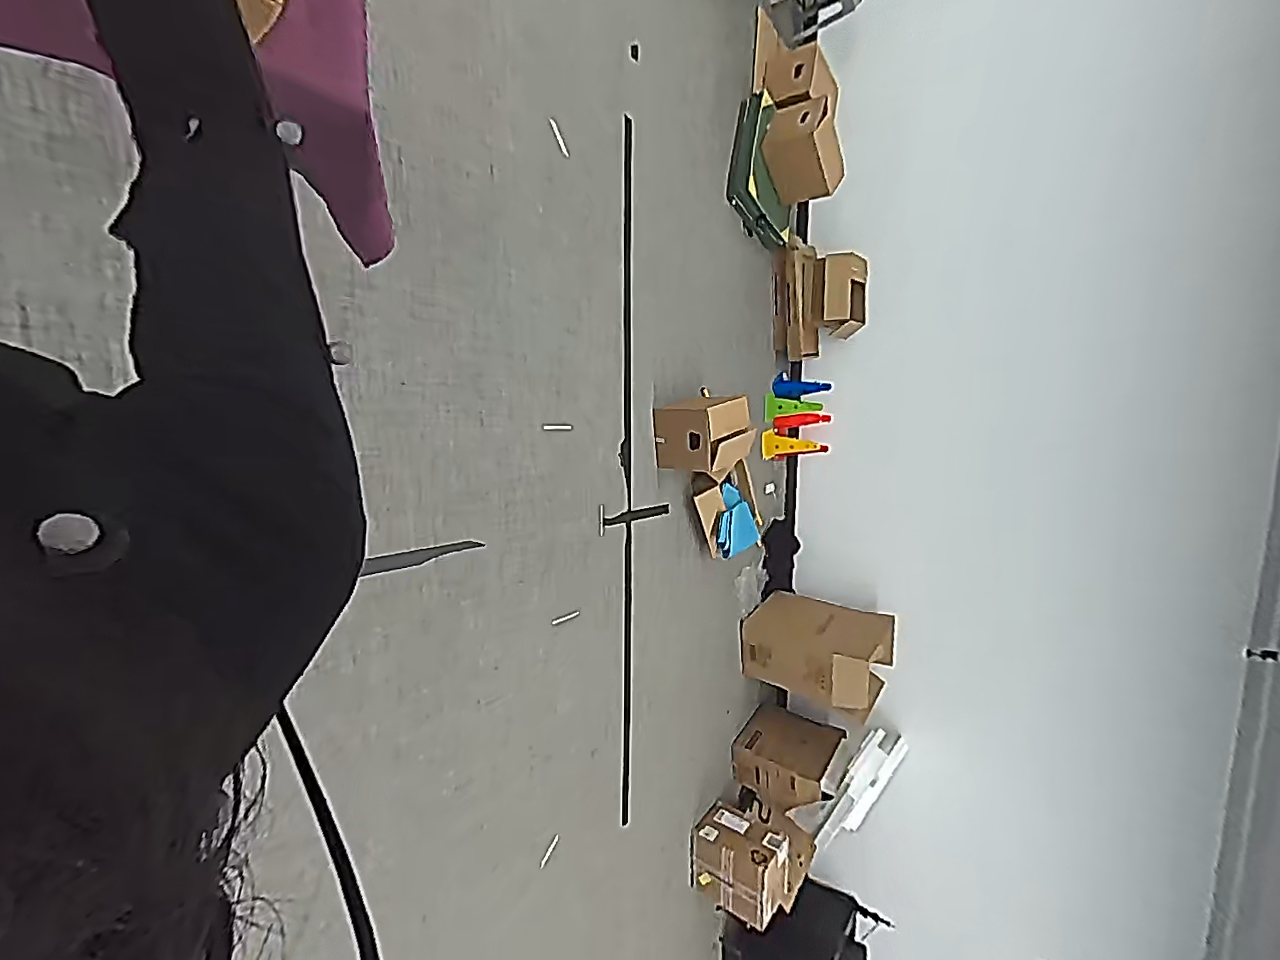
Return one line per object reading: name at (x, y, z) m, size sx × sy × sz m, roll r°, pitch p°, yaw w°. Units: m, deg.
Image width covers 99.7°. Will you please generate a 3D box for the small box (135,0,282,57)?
small box at (-0.472, -0.592, 0.551) m, size 0.168 × 0.176 × 0.179 m, roll 13°, pitch 82°, yaw -54°
